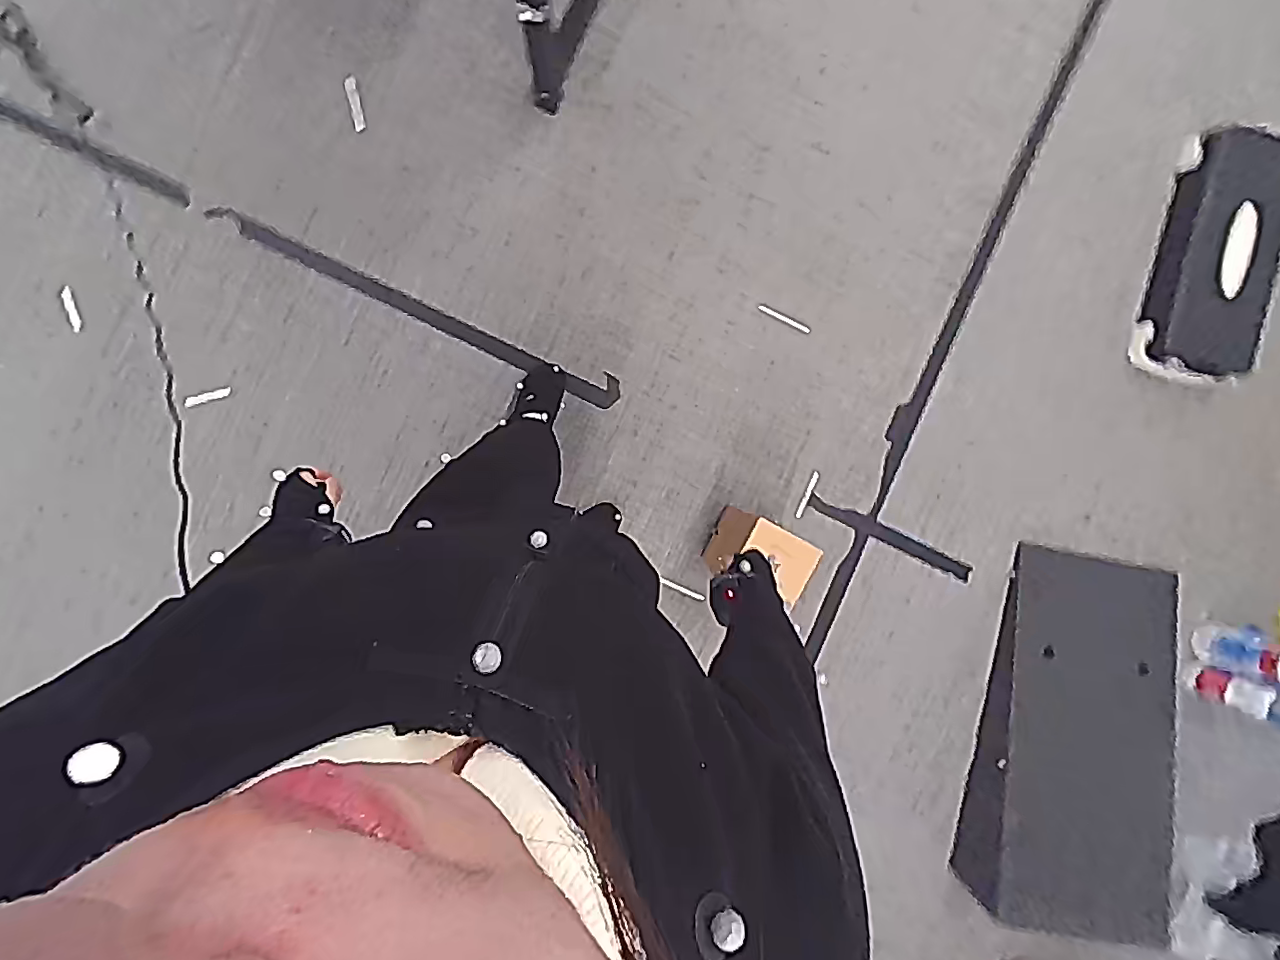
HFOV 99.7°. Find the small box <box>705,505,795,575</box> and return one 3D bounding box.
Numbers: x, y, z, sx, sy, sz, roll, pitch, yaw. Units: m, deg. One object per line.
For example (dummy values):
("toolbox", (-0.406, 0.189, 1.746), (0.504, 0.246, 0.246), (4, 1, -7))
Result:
("small box", (0.282, 0.183, 1.423), (0.168, 0.176, 0.179), (26, 92, -4))

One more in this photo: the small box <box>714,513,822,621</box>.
("small box", (0.286, 0.194, 1.260), (0.168, 0.176, 0.179), (29, 90, -4))
